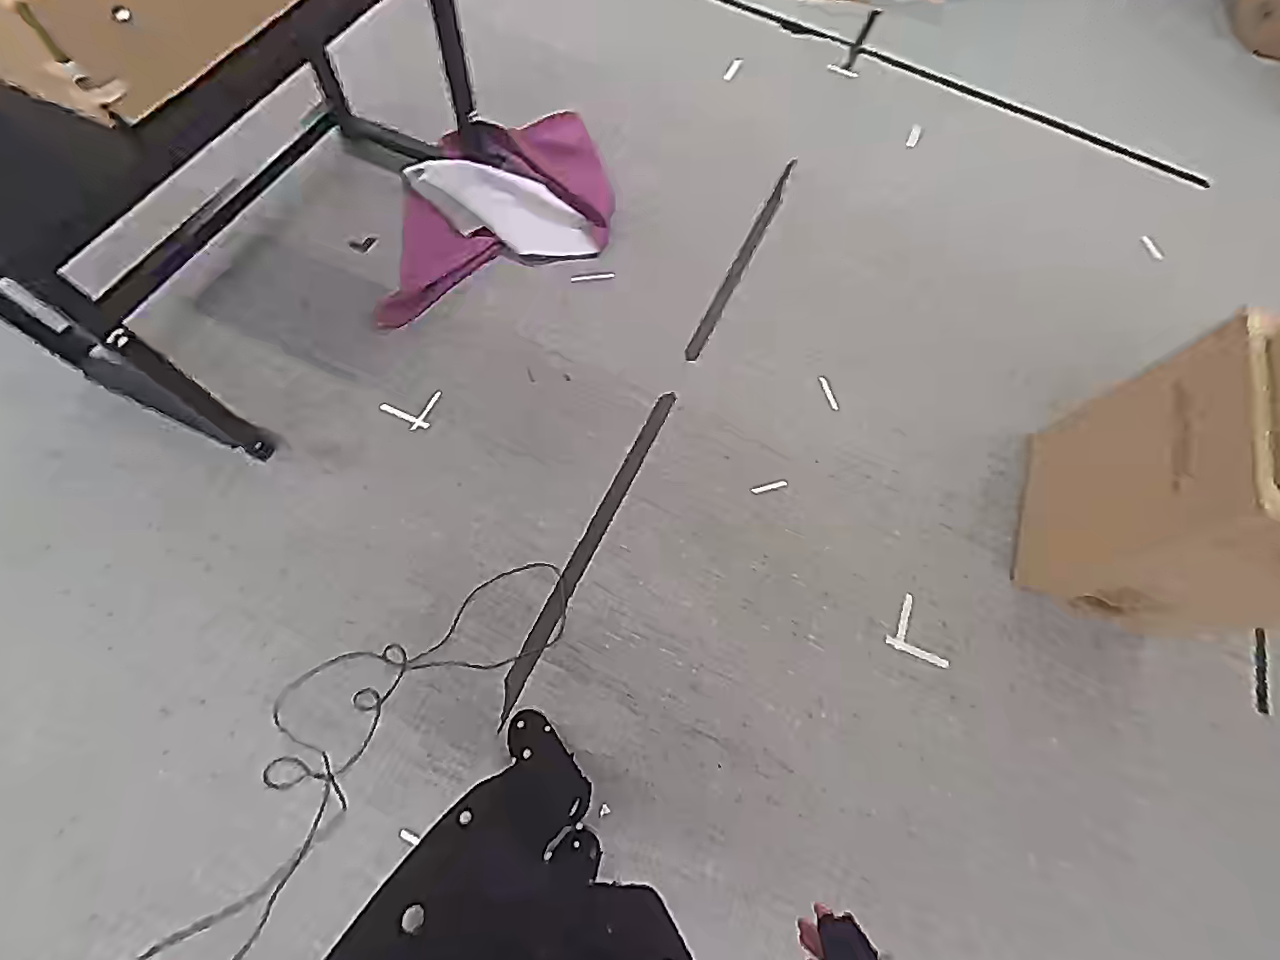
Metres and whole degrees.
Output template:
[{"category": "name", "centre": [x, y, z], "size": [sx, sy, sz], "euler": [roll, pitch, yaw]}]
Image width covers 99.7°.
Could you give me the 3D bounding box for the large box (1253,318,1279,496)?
[{"category": "large box", "centre": [1.388, -0.148, 0.932], "size": [0.320, 0.320, 0.408], "euler": [22, 68, 4]}]
